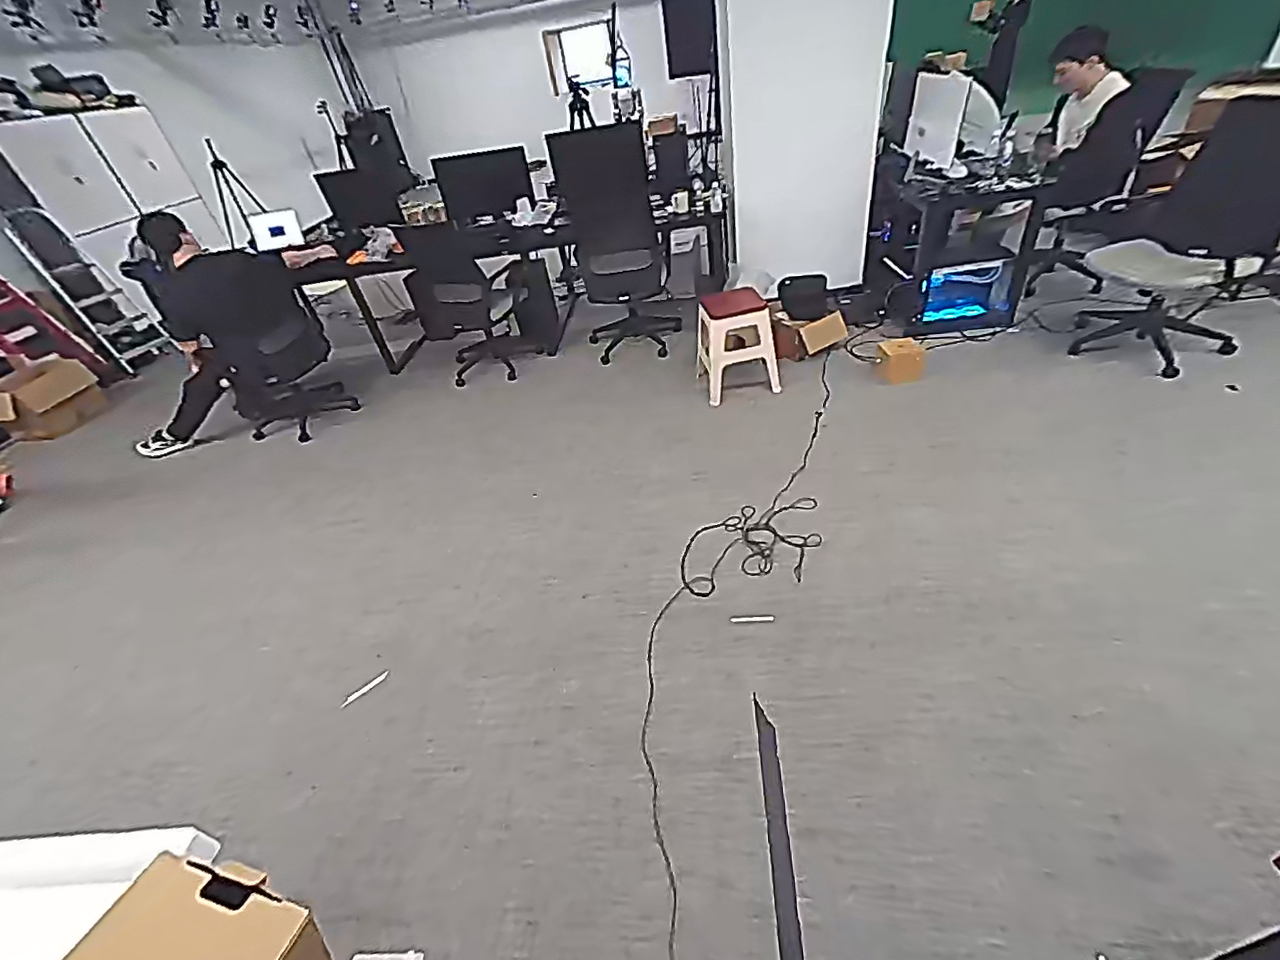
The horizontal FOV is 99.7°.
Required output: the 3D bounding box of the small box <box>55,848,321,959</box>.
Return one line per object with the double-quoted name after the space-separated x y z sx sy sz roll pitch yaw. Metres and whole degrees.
-0.411 0.479 0.474 0.168 0.176 0.179 16 32 8 "small box"
